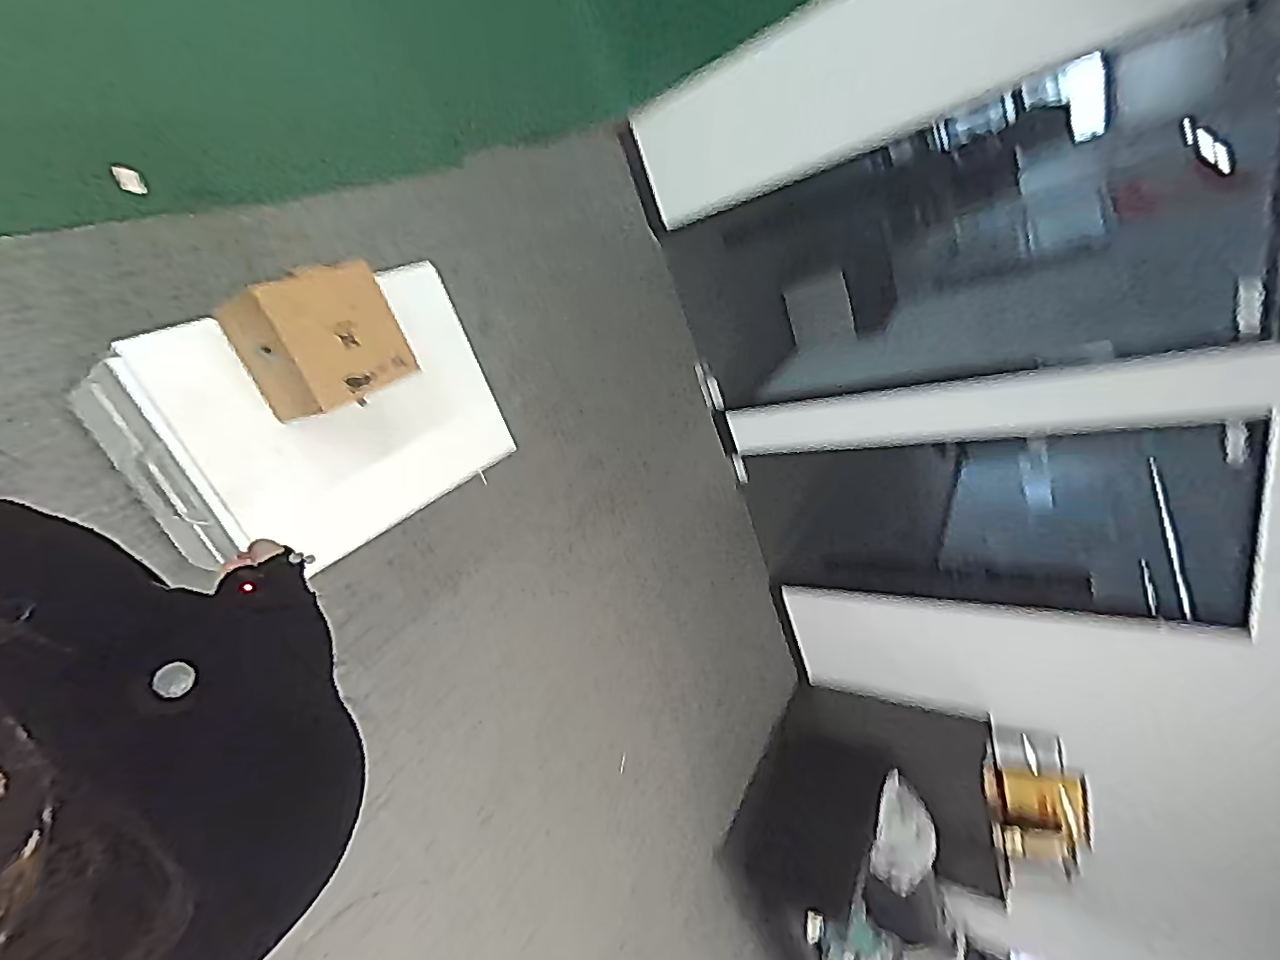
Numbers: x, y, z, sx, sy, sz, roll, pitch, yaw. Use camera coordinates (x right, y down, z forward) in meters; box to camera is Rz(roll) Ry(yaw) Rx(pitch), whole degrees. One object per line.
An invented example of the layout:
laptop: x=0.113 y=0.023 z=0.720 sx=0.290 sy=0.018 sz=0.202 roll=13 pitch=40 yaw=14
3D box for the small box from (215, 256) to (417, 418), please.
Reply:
small box: x=-0.479 y=-0.207 z=0.802 sx=0.168 sy=0.176 sz=0.179 roll=-43 pitch=121 yaw=-44
